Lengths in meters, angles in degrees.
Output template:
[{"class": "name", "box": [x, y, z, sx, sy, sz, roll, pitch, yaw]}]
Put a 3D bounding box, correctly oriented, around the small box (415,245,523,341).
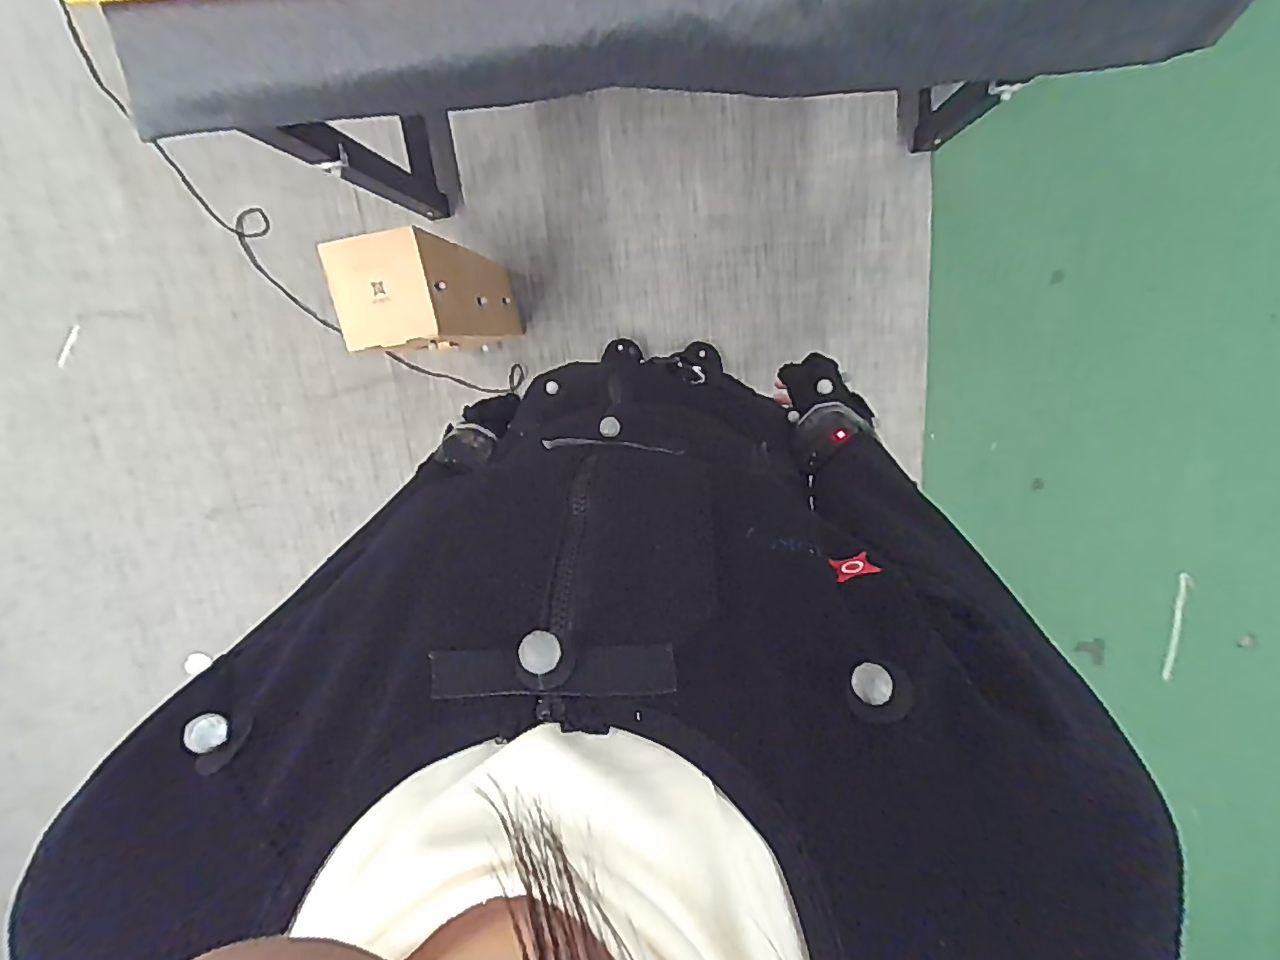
[{"class": "small box", "box": [-0.393, -0.431, 1.272, 0.168, 0.176, 0.179, -11, 105, 7]}]
